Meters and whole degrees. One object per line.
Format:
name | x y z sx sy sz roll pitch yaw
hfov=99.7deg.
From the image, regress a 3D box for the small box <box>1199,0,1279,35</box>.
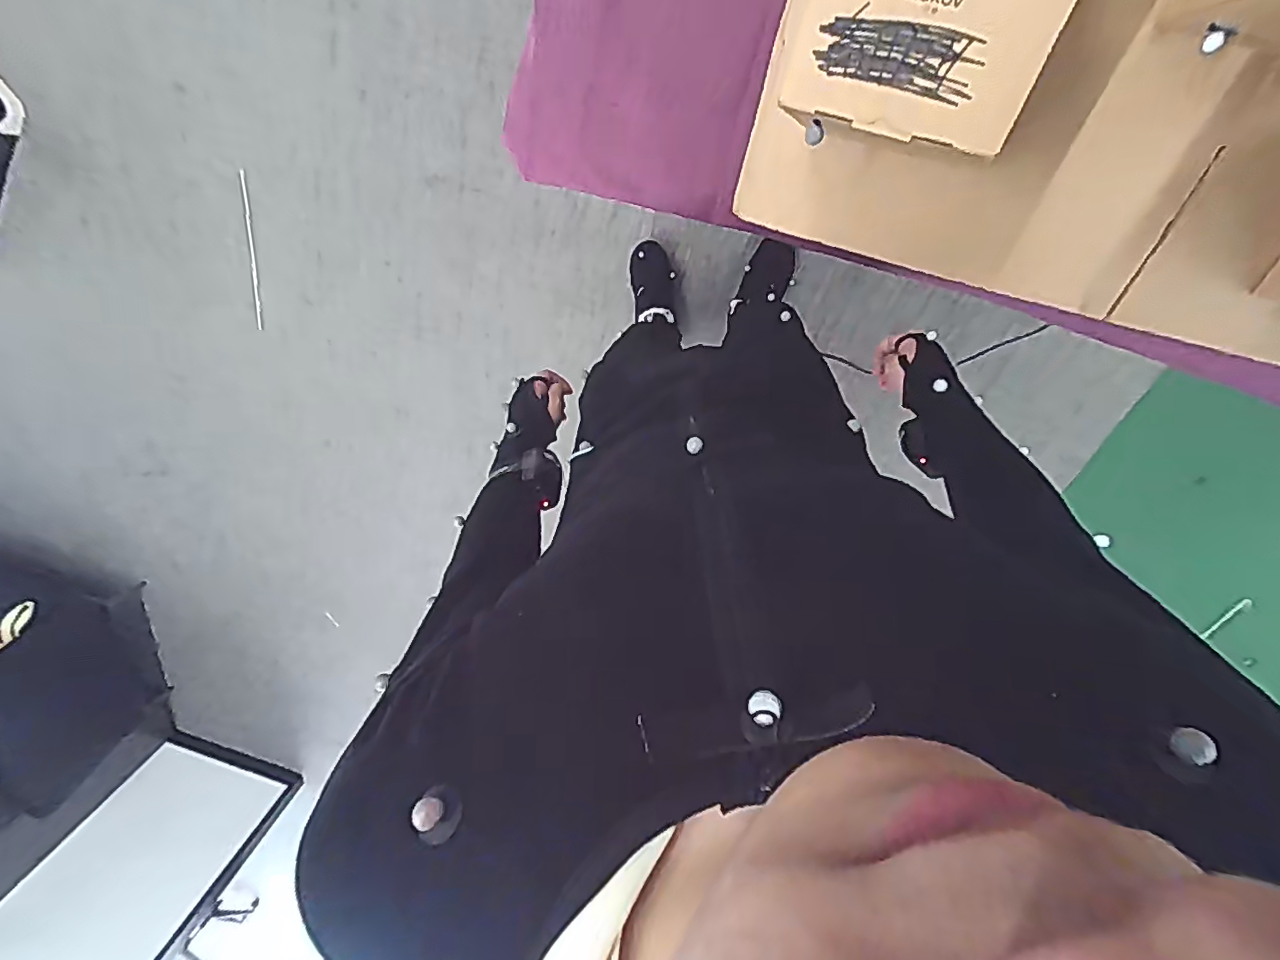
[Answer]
small box | 0.496 -0.374 0.311 0.168 0.176 0.179 14 120 0
